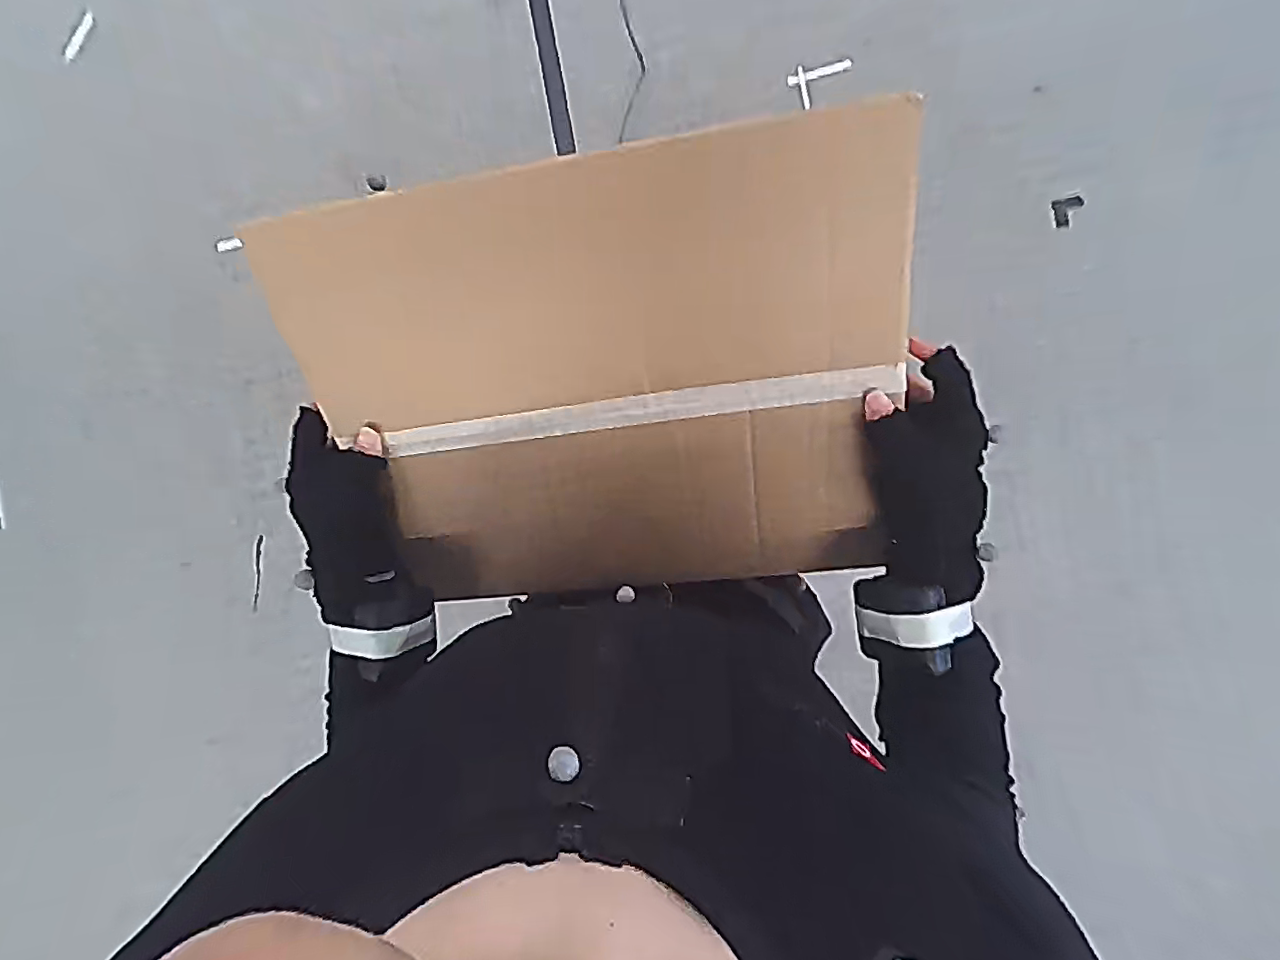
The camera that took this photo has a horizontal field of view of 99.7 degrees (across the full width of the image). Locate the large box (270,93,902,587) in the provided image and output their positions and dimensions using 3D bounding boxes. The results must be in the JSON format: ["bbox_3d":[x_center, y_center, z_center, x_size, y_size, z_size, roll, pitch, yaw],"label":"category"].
[{"bbox_3d":[-0.016,-0.128,0.522,0.408,0.320,0.320,-6,120,9],"label":"large box"}]
